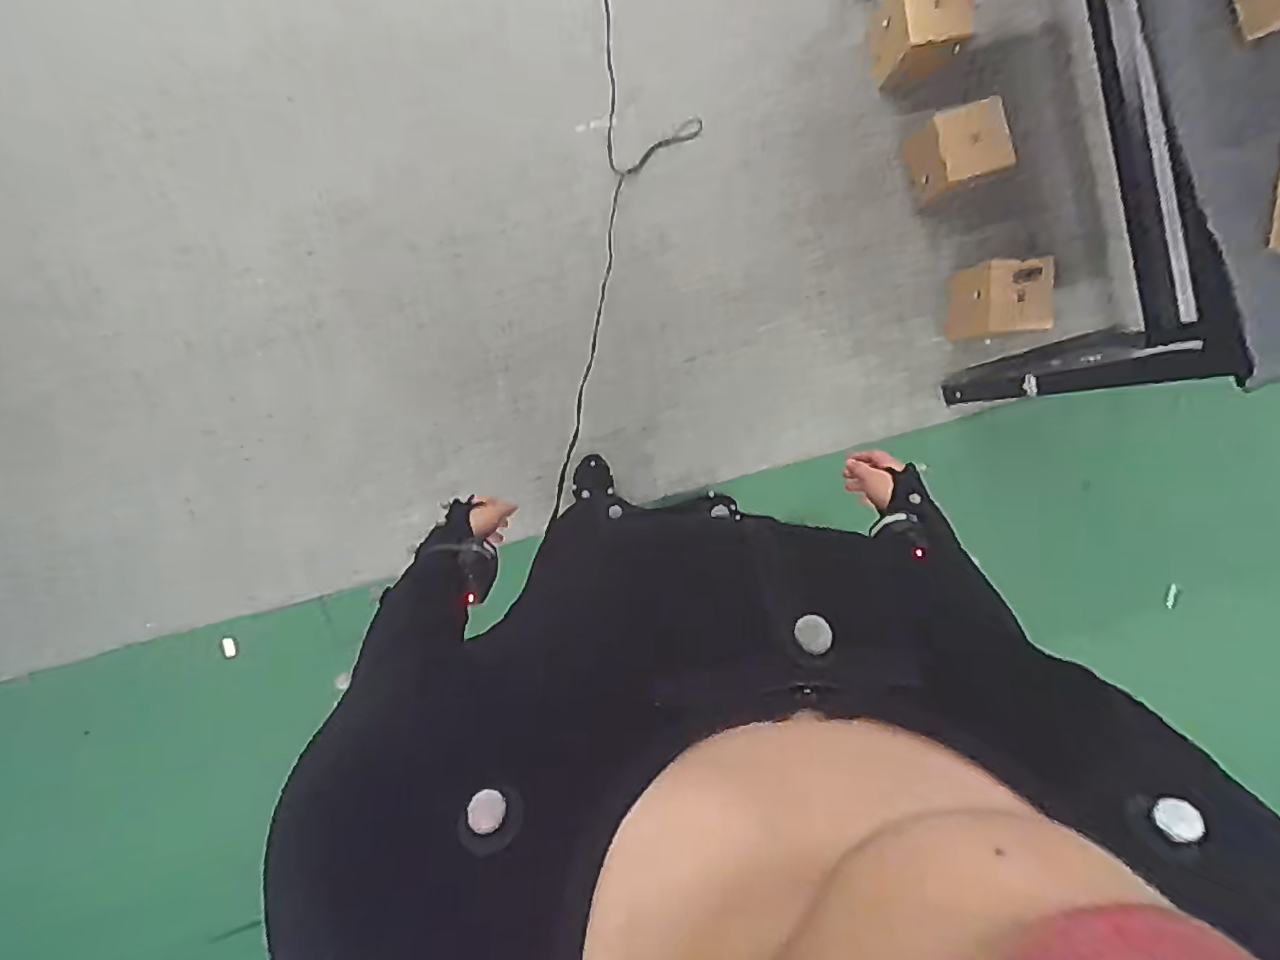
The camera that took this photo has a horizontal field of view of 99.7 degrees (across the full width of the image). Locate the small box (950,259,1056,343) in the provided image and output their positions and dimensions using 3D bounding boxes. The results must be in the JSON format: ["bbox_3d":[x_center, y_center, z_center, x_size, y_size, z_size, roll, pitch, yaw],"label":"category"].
[{"bbox_3d":[0.939,-0.462,1.411,0.168,0.176,0.179,-3,96,-2],"label":"small box"}]

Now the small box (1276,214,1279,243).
[{"bbox_3d":[0.987,-0.394,0.685,0.179,0.176,0.168,5,94,-6],"label":"small box"}]

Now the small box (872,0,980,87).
[{"bbox_3d":[0.703,-1.125,1.352,0.179,0.176,0.168,-12,95,-2],"label":"small box"}]

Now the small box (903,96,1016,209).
[{"bbox_3d":[0.801,-0.823,1.377,0.179,0.176,0.168,-18,96,-2],"label":"small box"}]
